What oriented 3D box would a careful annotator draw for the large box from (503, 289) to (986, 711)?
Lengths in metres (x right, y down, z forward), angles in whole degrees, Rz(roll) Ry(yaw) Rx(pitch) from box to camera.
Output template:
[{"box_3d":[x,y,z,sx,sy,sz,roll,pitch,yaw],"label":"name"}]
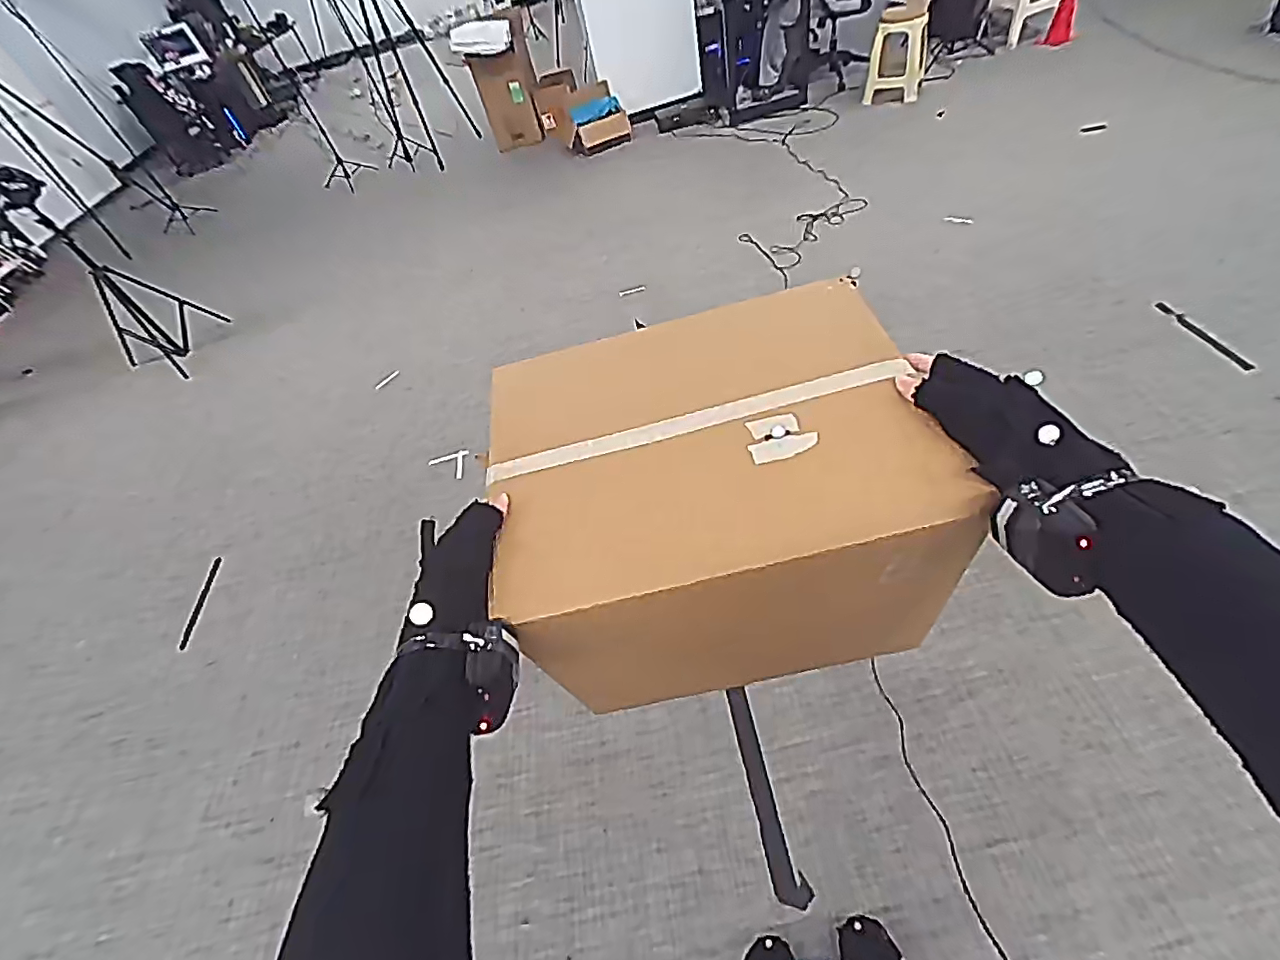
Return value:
[{"box_3d":[0.085,0.039,0.640,0.408,0.320,0.320,-14,53,3],"label":"large box"}]
